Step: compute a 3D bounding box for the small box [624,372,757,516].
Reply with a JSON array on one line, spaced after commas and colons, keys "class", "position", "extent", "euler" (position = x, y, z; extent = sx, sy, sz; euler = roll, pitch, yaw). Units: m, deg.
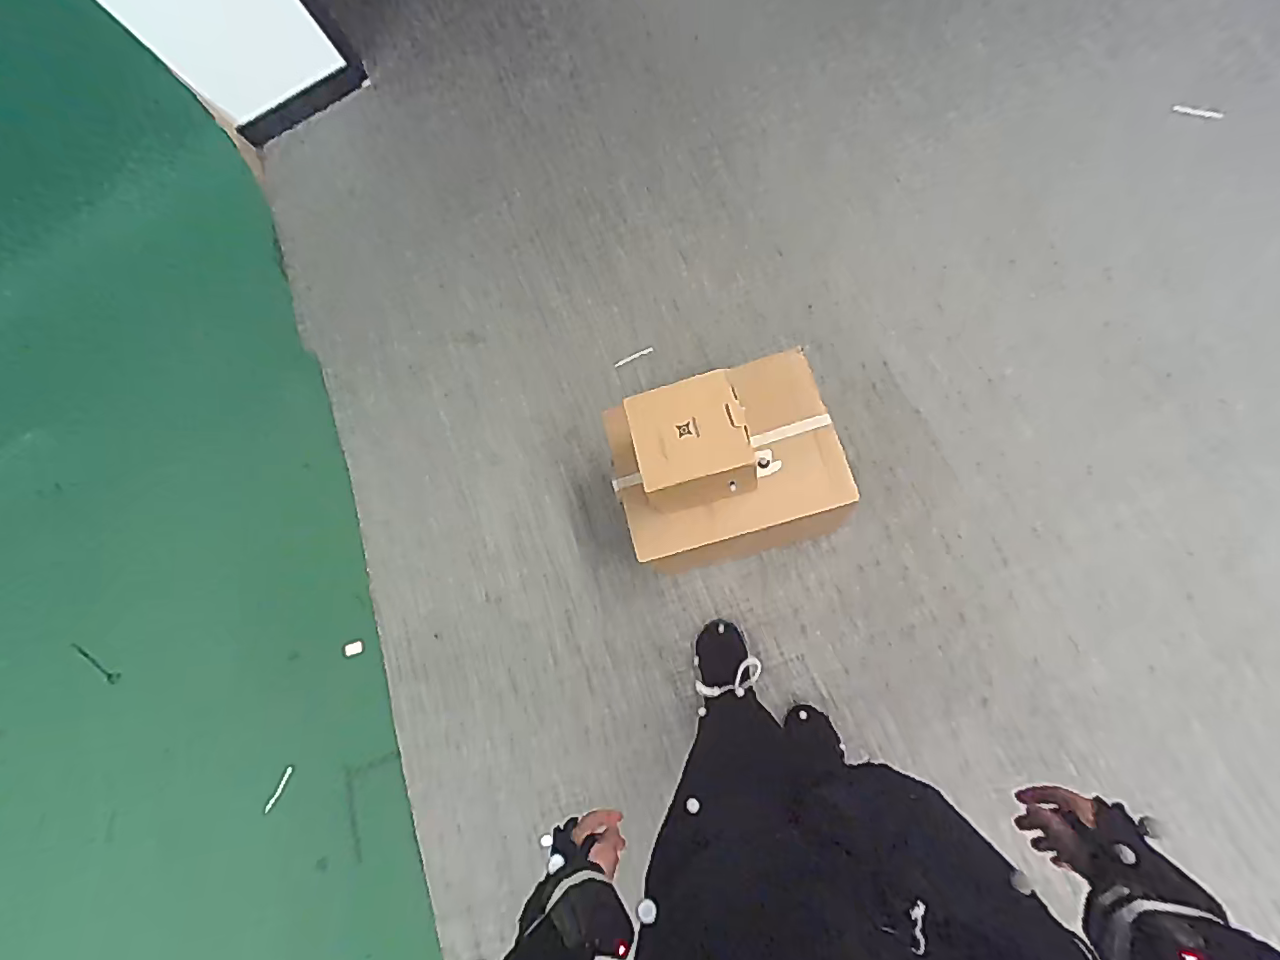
[{"class": "small box", "position": [0.090, -0.052, 0.906], "extent": [0.179, 0.176, 0.168], "euler": [-17, 71, 9]}]

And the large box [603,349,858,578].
[{"class": "large box", "position": [0.179, -0.009, 1.132], "extent": [0.408, 0.320, 0.320], "euler": [-17, 73, 7]}]
